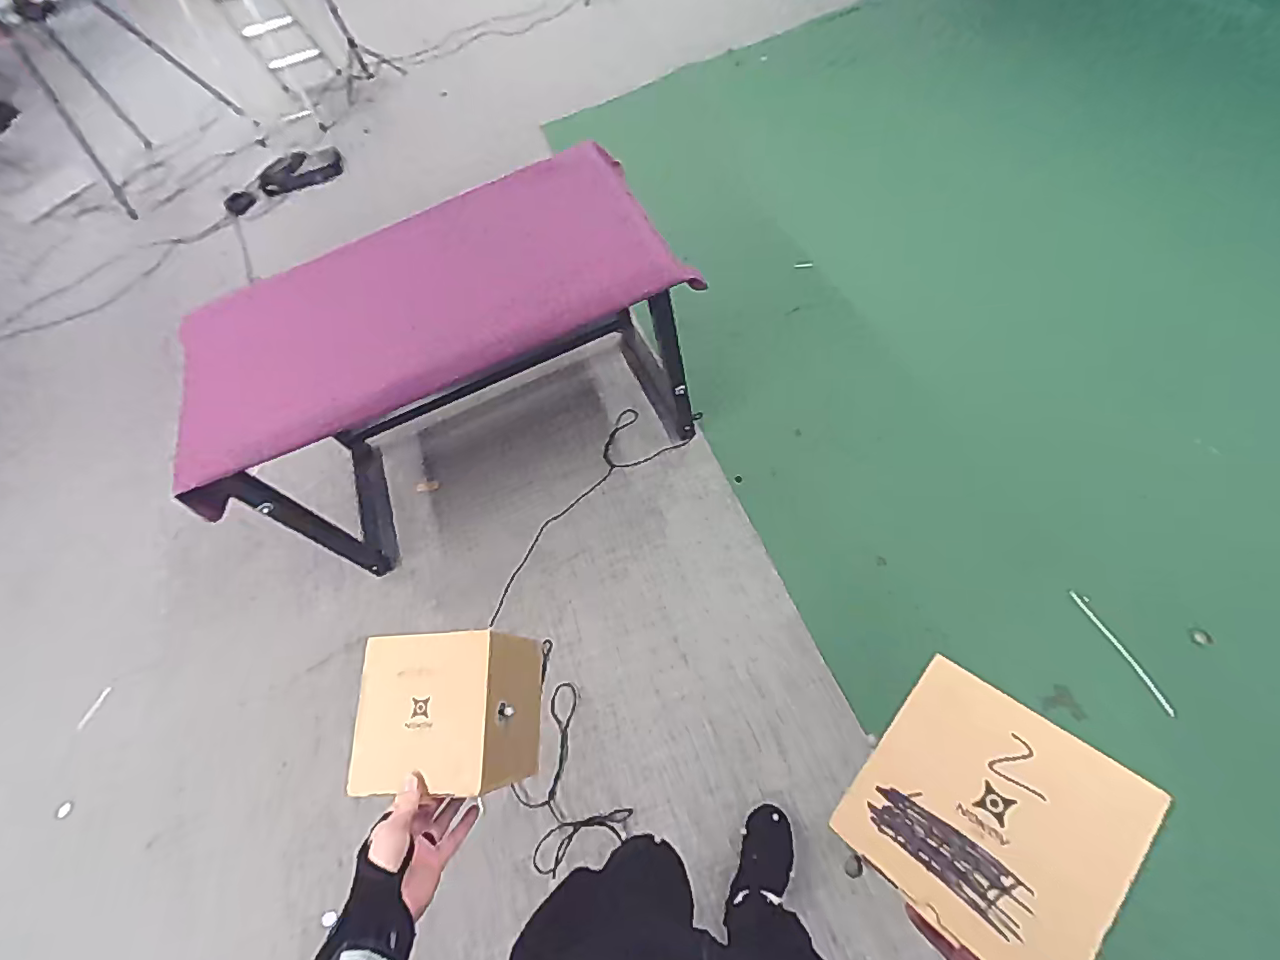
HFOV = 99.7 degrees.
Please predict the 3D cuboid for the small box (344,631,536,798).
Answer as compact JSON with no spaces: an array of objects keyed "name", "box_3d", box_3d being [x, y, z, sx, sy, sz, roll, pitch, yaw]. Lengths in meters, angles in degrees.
[{"name":"small box","box_3d":[-0.241,0.294,0.696,0.168,0.176,0.179,-6,68,10]}]
